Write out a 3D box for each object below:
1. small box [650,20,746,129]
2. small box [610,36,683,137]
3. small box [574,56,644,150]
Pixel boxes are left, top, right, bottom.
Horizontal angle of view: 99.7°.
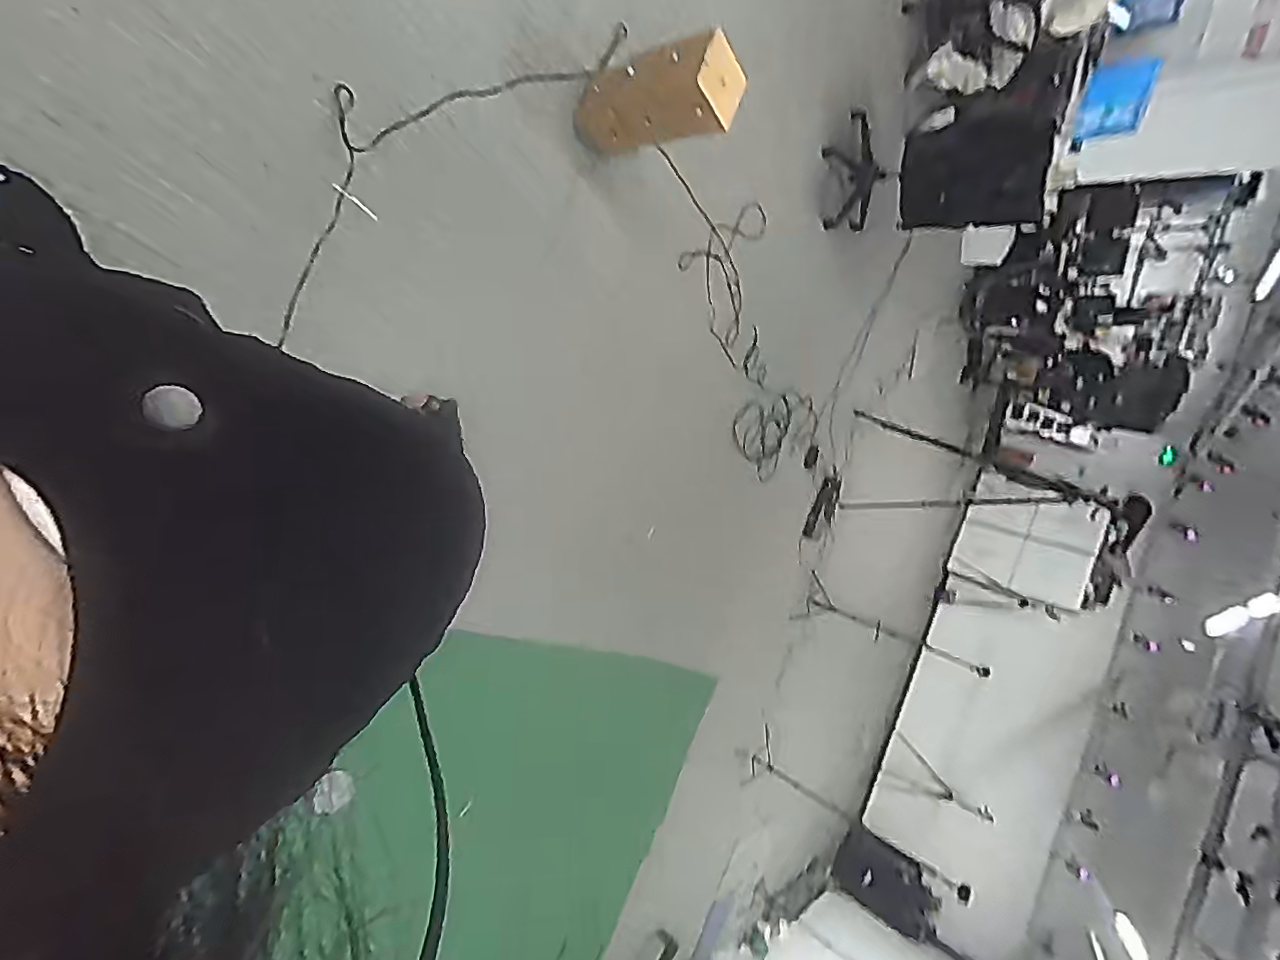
[{"bbox_3d":[0.161,-1.112,1.503,0.179,0.176,0.168,24,85,-50],"label":"small box"},{"bbox_3d":[0.045,-1.157,1.608,0.179,0.176,0.168,26,84,-50],"label":"small box"},{"bbox_3d":[-0.081,-1.179,1.711,0.179,0.176,0.168,20,89,-52],"label":"small box"}]
